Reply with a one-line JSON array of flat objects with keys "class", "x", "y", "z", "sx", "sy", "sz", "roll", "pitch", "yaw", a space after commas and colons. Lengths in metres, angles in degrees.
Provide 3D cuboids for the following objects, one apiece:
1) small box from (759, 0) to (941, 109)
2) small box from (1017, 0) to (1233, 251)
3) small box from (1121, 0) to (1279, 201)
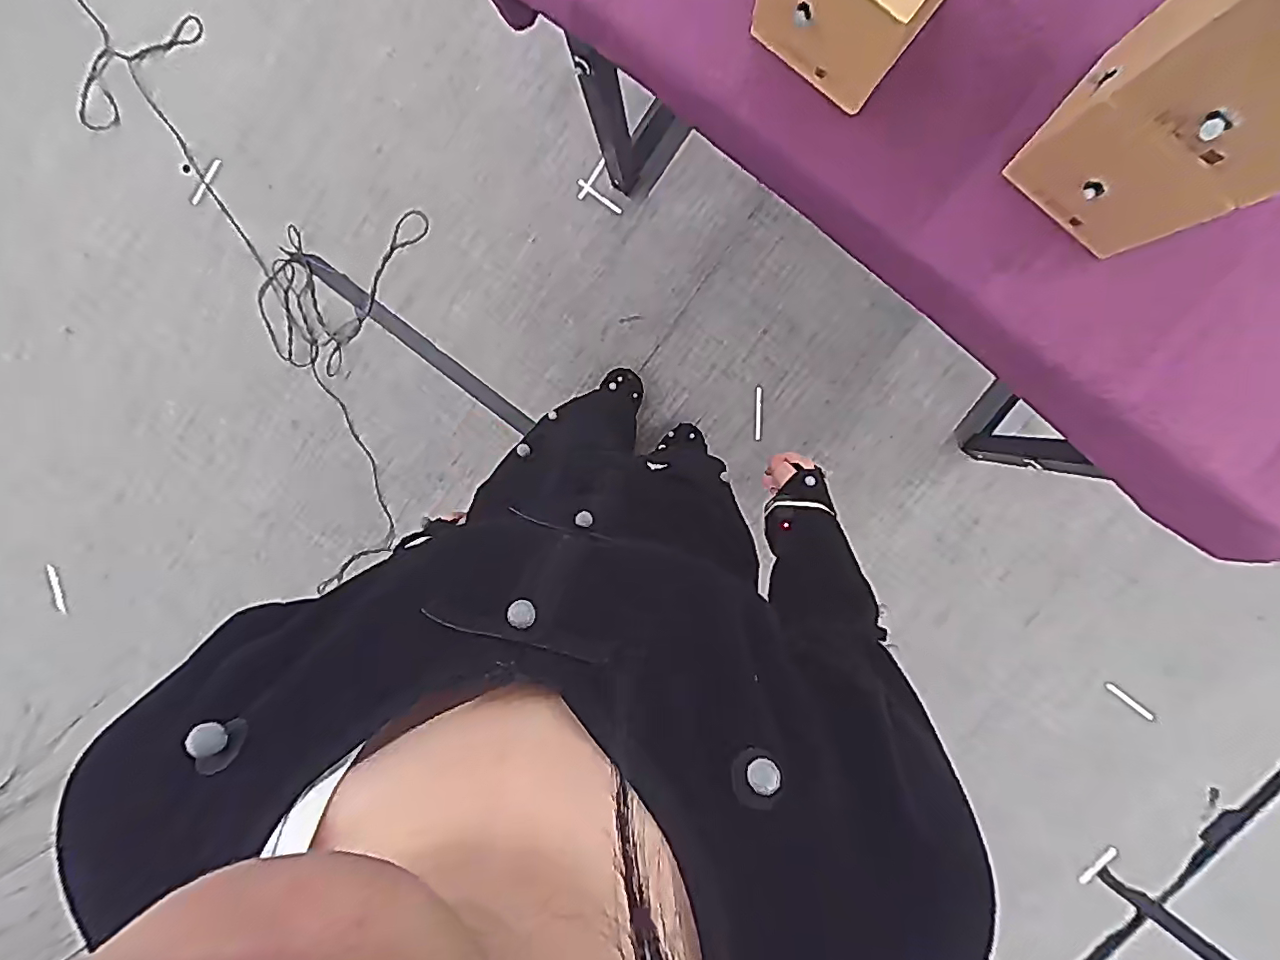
[{"class": "small box", "x": 0.246, "y": -0.557, "z": 0.581, "sx": 0.168, "sy": 0.176, "sz": 0.179, "roll": 38, "pitch": 97, "yaw": -1}, {"class": "small box", "x": 0.556, "y": -0.382, "z": 0.580, "sx": 0.168, "sy": 0.176, "sz": 0.179, "roll": 40, "pitch": 98, "yaw": -2}, {"class": "small box", "x": 0.549, "y": -0.363, "z": 0.417, "sx": 0.168, "sy": 0.176, "sz": 0.179, "roll": 40, "pitch": 99, "yaw": -1}]
